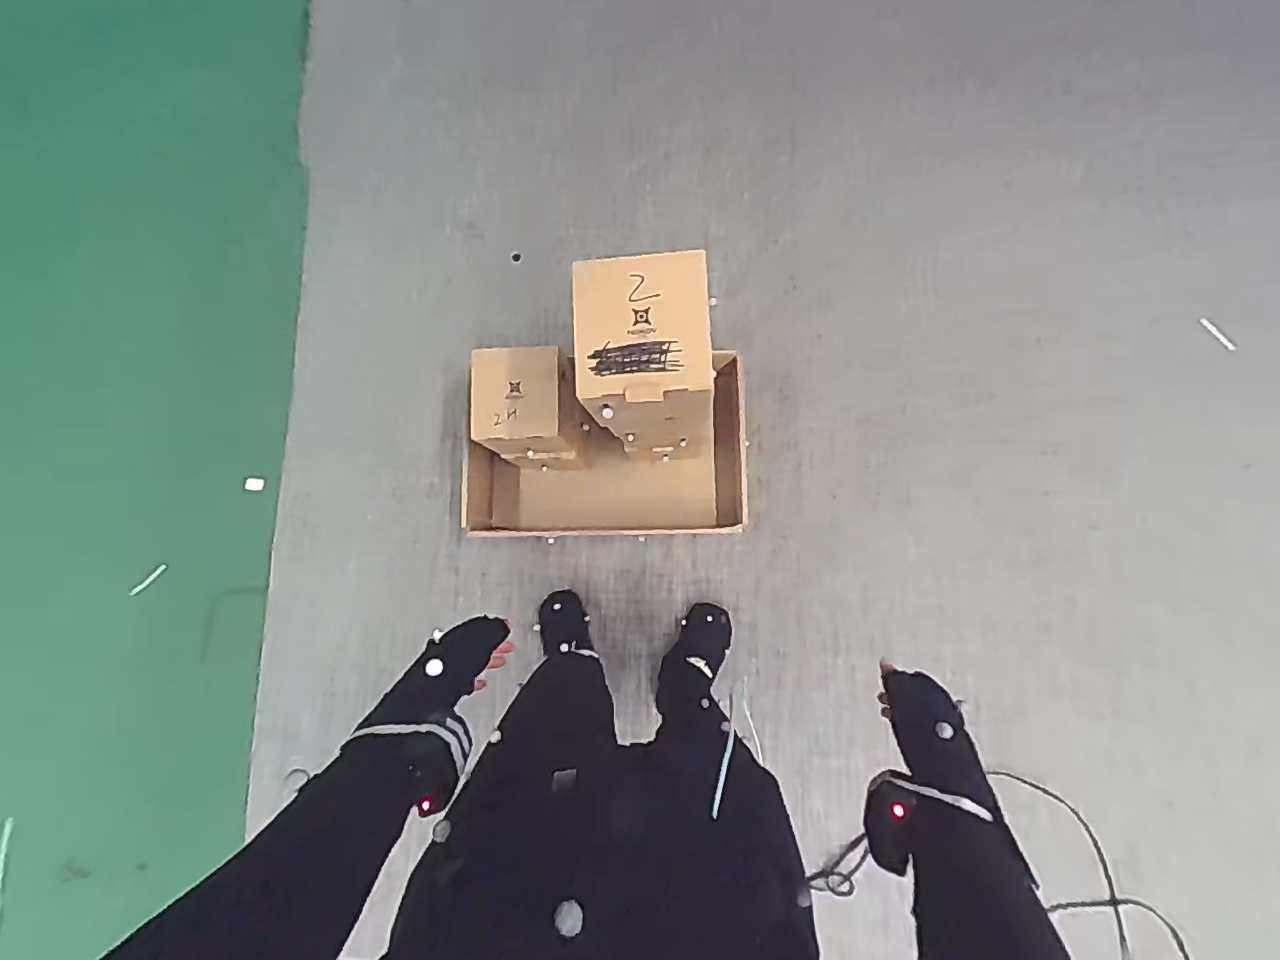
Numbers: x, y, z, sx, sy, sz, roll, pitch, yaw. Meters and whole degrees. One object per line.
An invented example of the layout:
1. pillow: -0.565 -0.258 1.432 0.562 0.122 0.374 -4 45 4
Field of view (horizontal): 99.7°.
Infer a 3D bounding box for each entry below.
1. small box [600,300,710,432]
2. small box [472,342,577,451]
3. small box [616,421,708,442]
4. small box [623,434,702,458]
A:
1. small box: 0.030 -0.176 0.889 0.168 0.176 0.179 0 84 5
2. small box: -0.222 -0.158 1.074 0.168 0.176 0.179 -1 84 4
3. small box: 0.047 -0.168 1.035 0.168 0.176 0.179 -1 84 6
4. small box: 0.052 -0.147 1.215 0.168 0.176 0.179 -5 83 6
